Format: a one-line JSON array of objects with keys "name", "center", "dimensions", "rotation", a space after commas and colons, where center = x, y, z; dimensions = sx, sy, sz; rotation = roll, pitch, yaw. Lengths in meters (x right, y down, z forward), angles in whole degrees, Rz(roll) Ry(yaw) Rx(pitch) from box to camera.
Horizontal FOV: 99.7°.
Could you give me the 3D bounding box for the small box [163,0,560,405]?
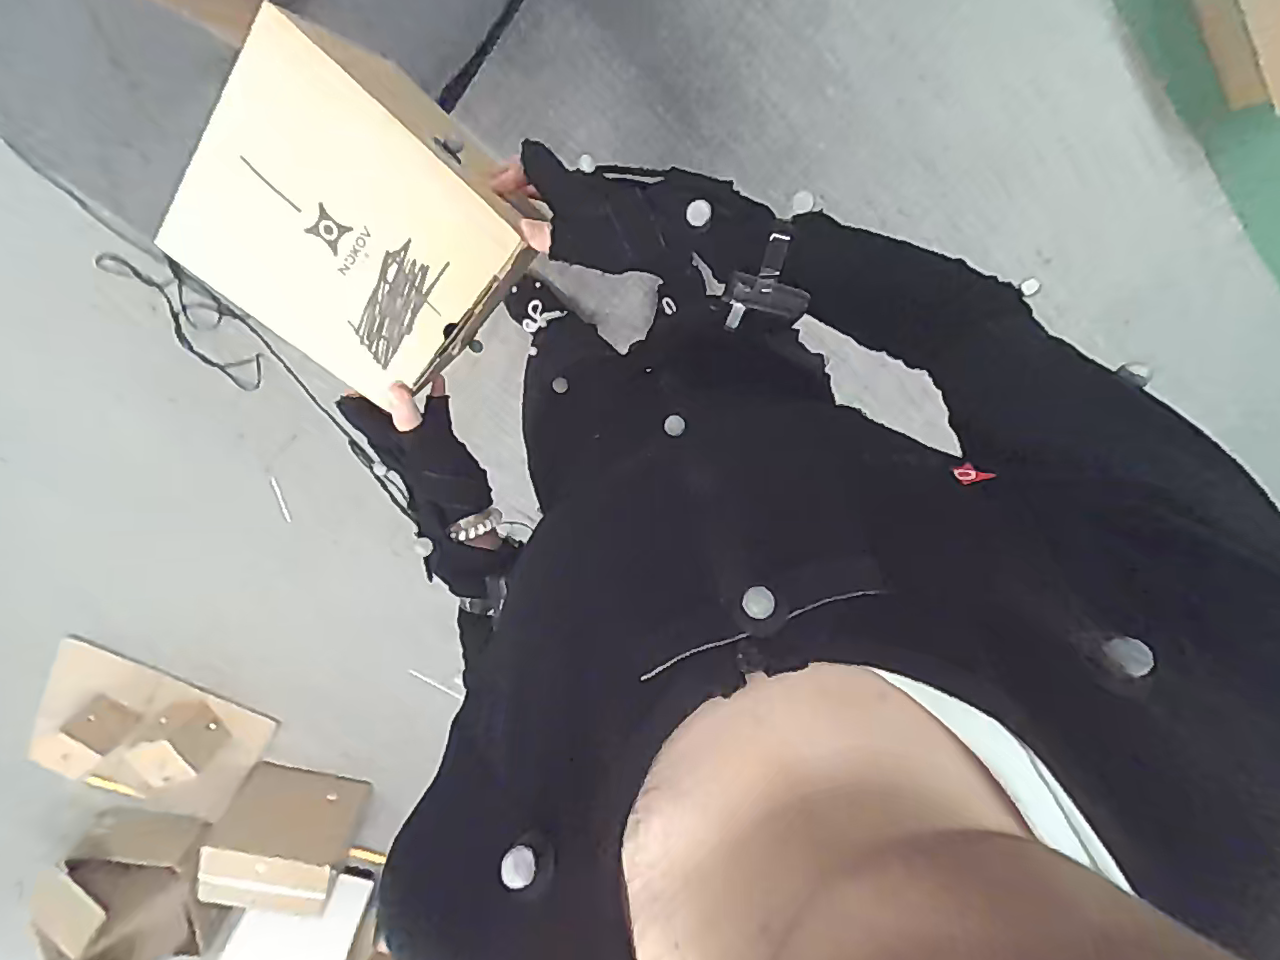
[{"name": "small box", "center": [-0.180, -0.194, 0.408], "dimensions": [0.179, 0.176, 0.168], "rotation": [40, 111, -19]}]
